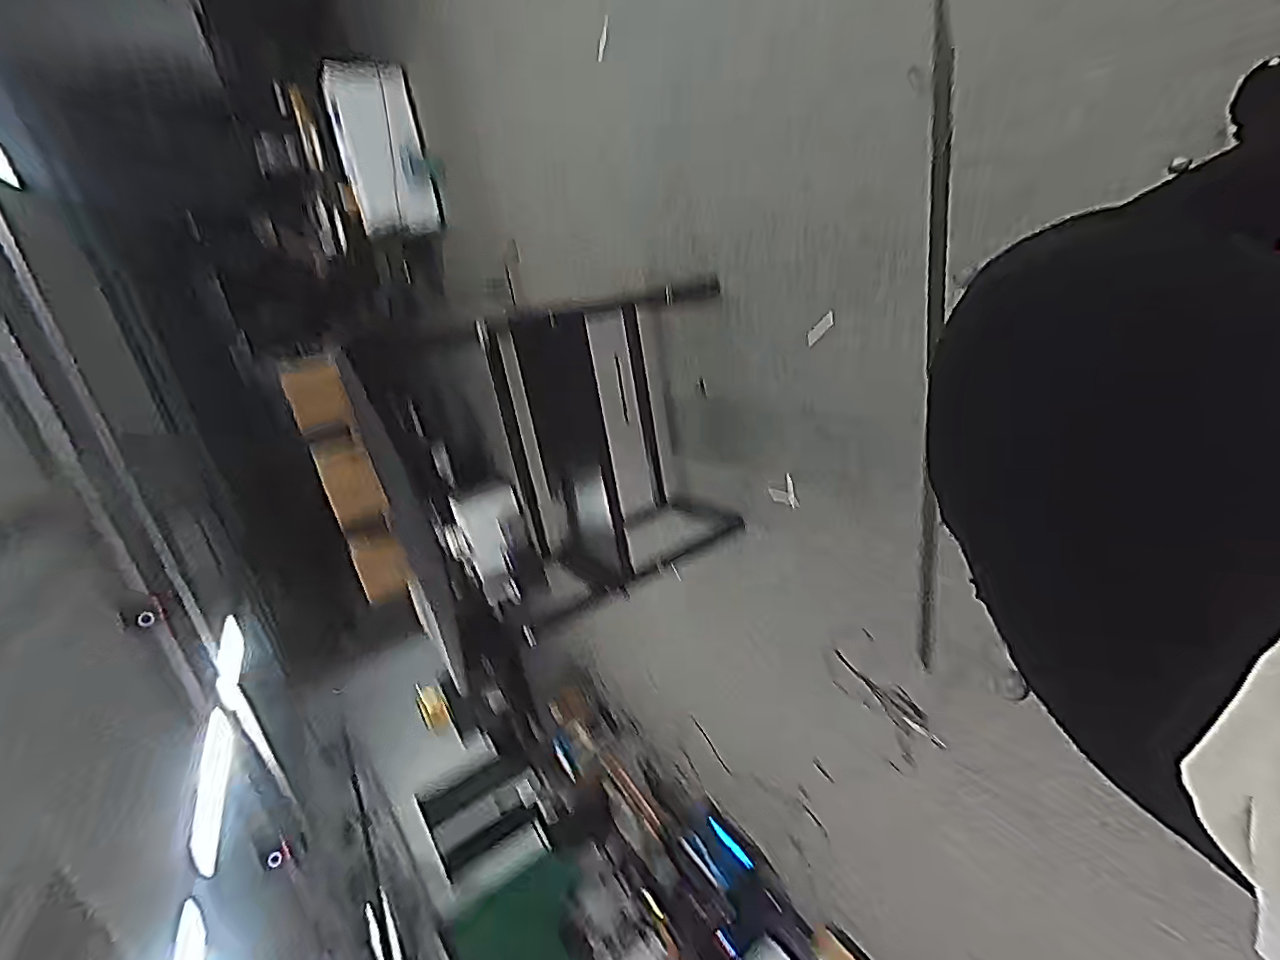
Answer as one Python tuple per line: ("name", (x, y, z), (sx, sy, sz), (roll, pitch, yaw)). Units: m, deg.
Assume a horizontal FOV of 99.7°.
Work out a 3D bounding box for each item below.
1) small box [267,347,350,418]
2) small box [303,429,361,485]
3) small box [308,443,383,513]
("small box", (-0.993, -0.299, 1.628), (0.179, 0.176, 0.168), (27, 132, 55))
("small box", (-1.100, -0.080, 1.959), (0.179, 0.176, 0.168), (20, 125, 54))
("small box", (-0.956, -0.014, 1.760), (0.179, 0.176, 0.168), (22, 127, 55))
